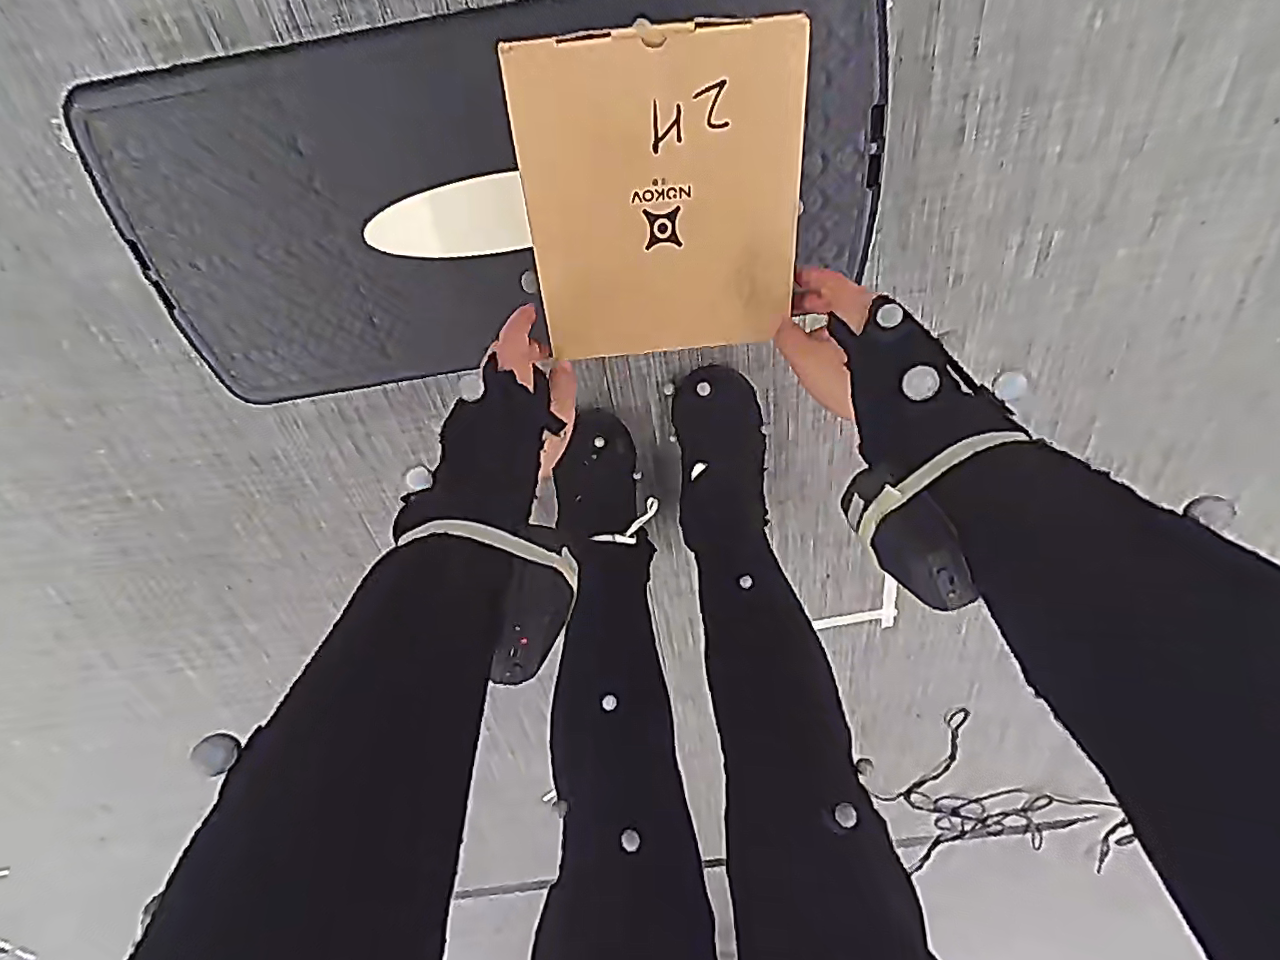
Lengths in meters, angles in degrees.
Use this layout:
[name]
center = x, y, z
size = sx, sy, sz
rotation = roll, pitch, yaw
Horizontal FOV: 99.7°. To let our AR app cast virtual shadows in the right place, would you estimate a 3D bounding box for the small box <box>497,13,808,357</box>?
[small box]
center = 0.008, -0.207, 0.392
size = 0.168, 0.176, 0.179
rotation = -5, 123, 0
